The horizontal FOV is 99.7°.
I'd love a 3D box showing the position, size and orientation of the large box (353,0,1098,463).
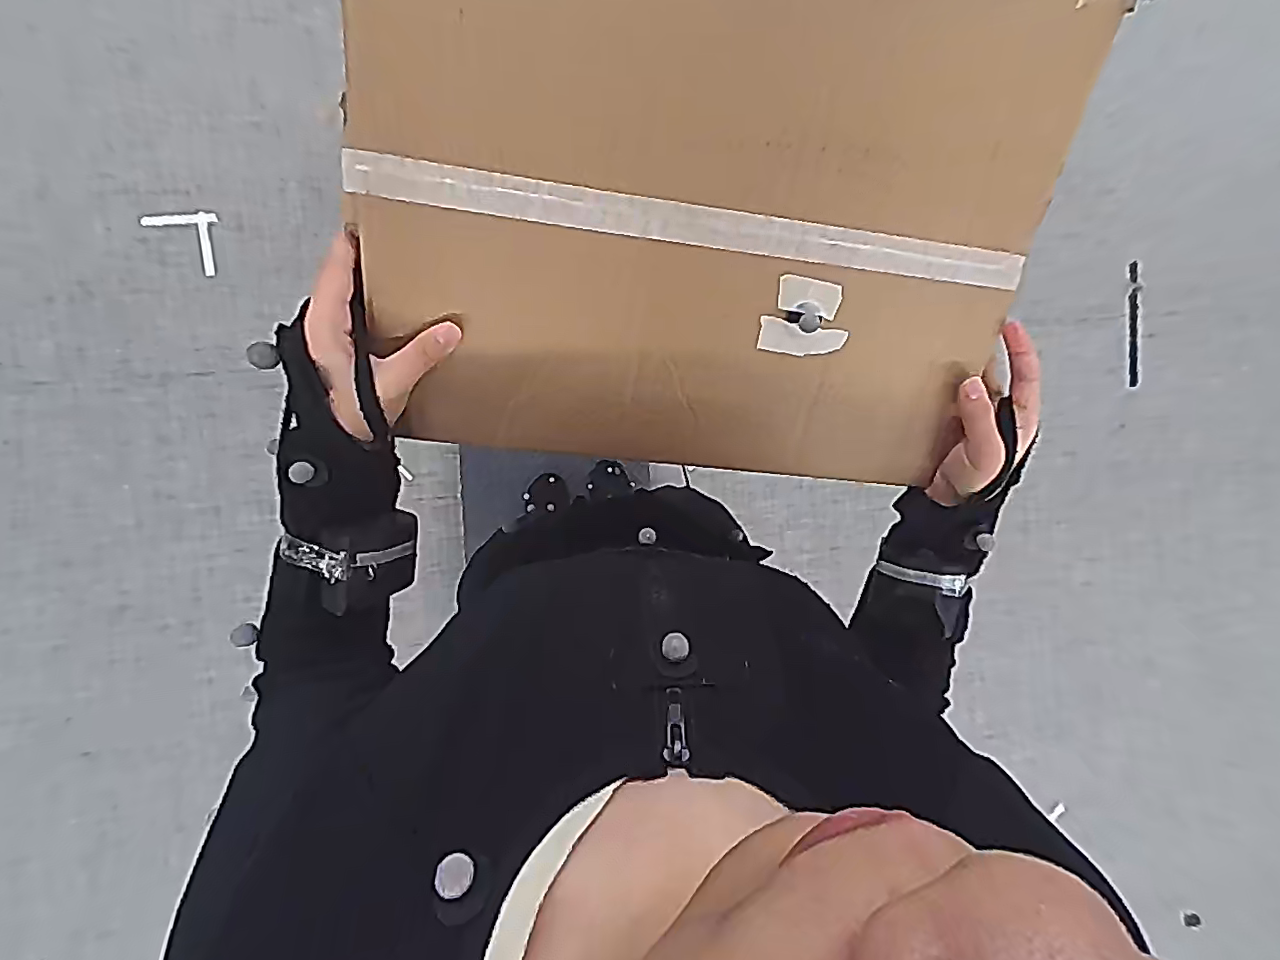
[{"bbox_3d":[0.027,-0.227,0.461,0.408,0.320,0.320,5,116,-9],"label":"large box"}]
